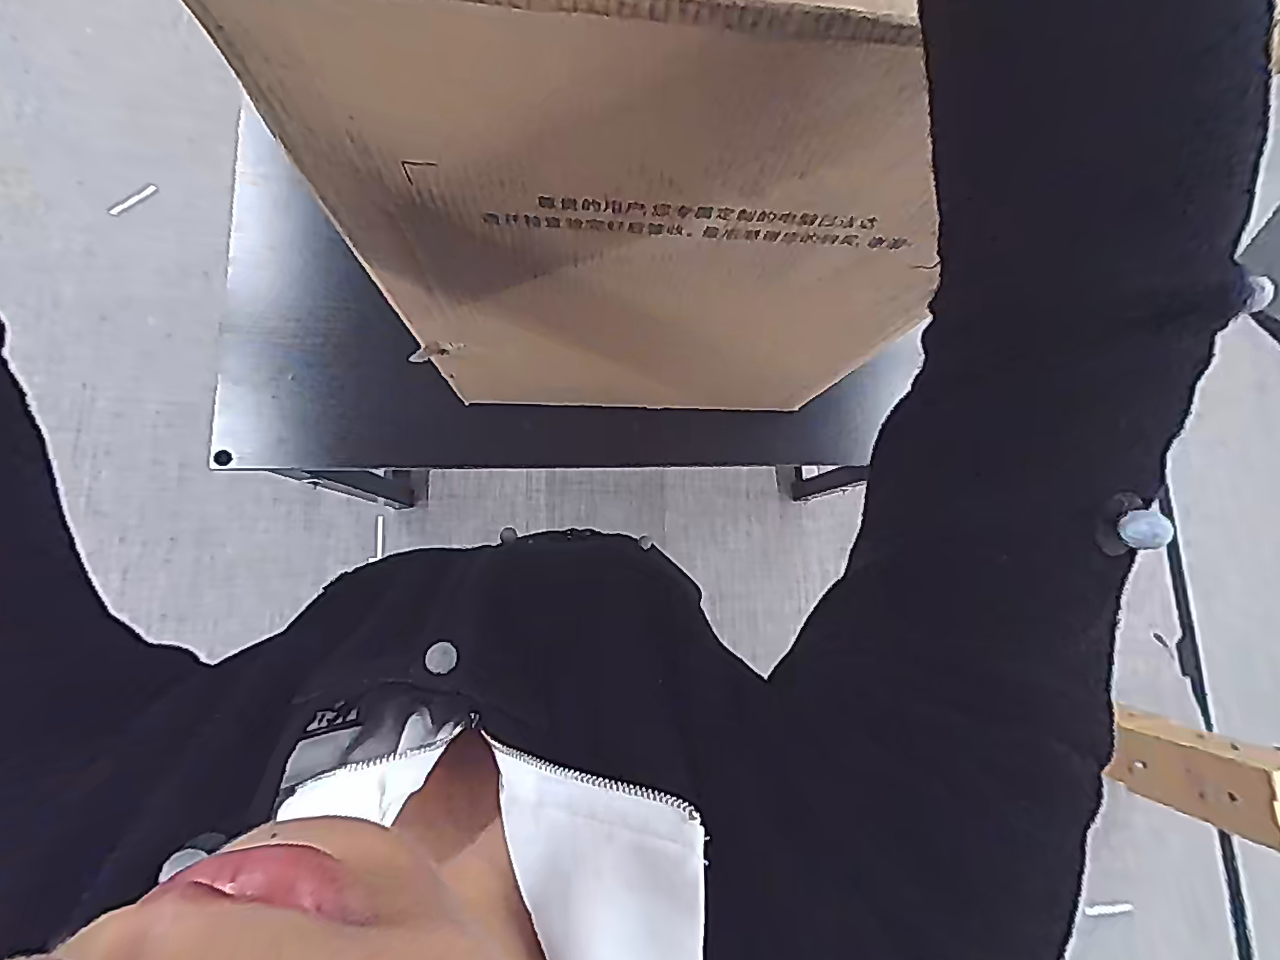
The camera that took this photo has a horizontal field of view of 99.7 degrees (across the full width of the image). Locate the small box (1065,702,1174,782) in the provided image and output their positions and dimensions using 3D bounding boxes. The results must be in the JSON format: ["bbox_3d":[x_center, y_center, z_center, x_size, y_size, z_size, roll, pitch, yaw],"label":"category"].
[{"bbox_3d":[1.363,0.737,1.533,0.179,0.176,0.168,0,81,-6],"label":"small box"}]

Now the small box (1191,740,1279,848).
[{"bbox_3d":[1.391,0.695,1.208,0.179,0.176,0.168,1,81,-6],"label":"small box"}]

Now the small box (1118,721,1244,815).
[{"bbox_3d":[1.374,0.720,1.369,0.179,0.176,0.168,1,81,-7],"label":"small box"}]
